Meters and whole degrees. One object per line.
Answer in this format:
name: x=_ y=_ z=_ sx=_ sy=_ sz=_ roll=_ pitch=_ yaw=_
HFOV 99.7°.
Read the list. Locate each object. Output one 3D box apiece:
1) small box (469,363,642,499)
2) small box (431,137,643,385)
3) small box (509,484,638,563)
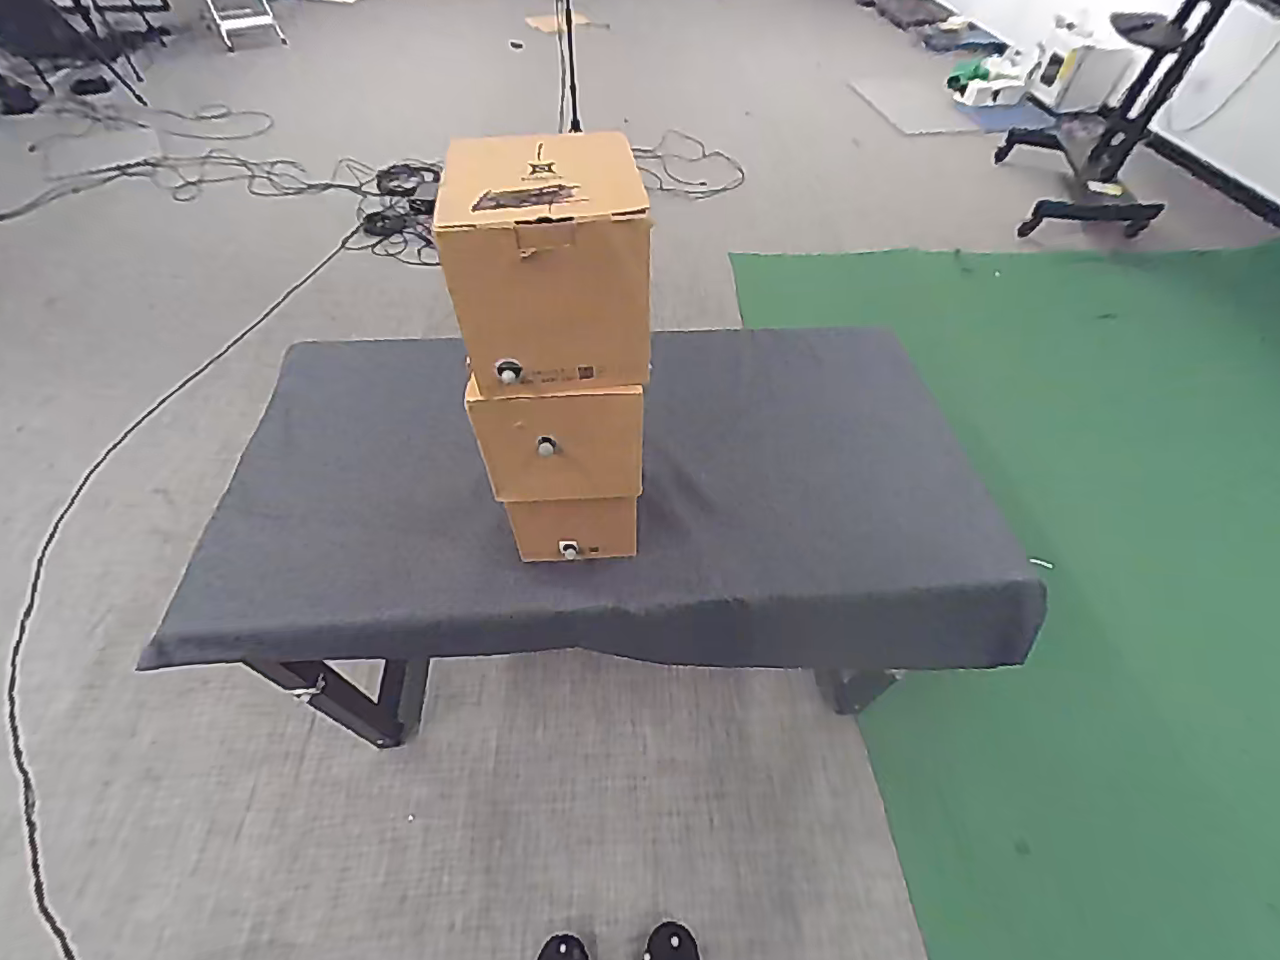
small box: x=-0.091 y=-0.091 z=0.649 sx=0.179 sy=0.176 sz=0.168 roll=-5 pitch=49 yaw=-5
small box: x=-0.087 y=-0.206 z=0.526 sx=0.168 sy=0.176 sz=0.179 roll=-6 pitch=50 yaw=-5
small box: x=-0.093 y=-0.001 z=0.783 sx=0.168 sy=0.176 sz=0.179 roll=-5 pitch=52 yaw=-3
